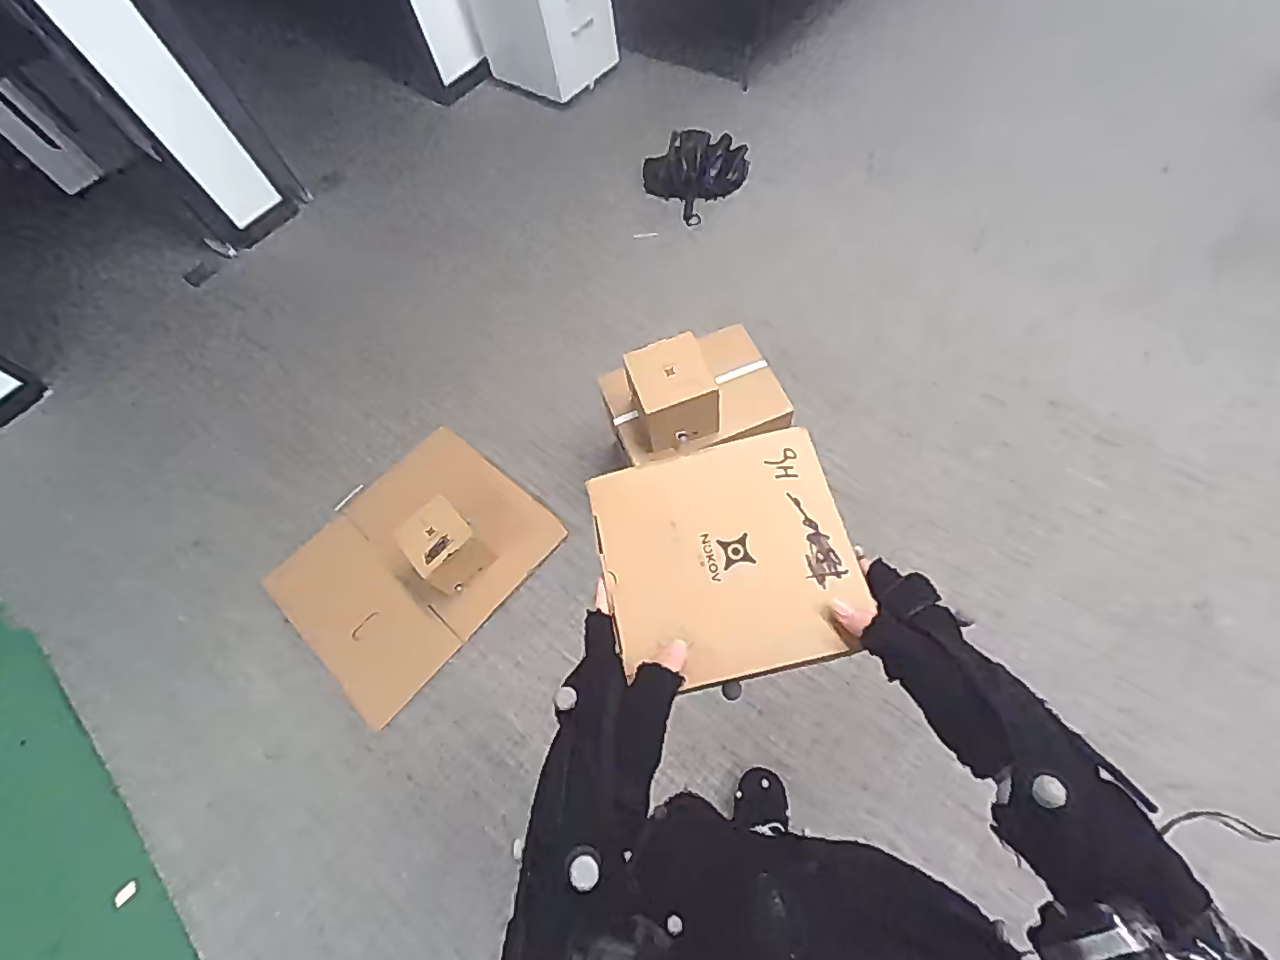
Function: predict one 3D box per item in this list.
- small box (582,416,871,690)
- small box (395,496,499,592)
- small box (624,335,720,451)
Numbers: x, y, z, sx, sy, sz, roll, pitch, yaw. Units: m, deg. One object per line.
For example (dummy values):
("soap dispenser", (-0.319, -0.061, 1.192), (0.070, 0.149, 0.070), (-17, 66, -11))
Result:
("small box", (0.066, 0.075, 0.469), (0.179, 0.176, 0.168), (-16, 65, 0))
("small box", (-0.511, 0.182, 1.458), (0.168, 0.176, 0.179), (-42, 63, -13))
("small box", (0.075, -0.192, 1.236), (0.168, 0.176, 0.179), (-21, 63, -1))
